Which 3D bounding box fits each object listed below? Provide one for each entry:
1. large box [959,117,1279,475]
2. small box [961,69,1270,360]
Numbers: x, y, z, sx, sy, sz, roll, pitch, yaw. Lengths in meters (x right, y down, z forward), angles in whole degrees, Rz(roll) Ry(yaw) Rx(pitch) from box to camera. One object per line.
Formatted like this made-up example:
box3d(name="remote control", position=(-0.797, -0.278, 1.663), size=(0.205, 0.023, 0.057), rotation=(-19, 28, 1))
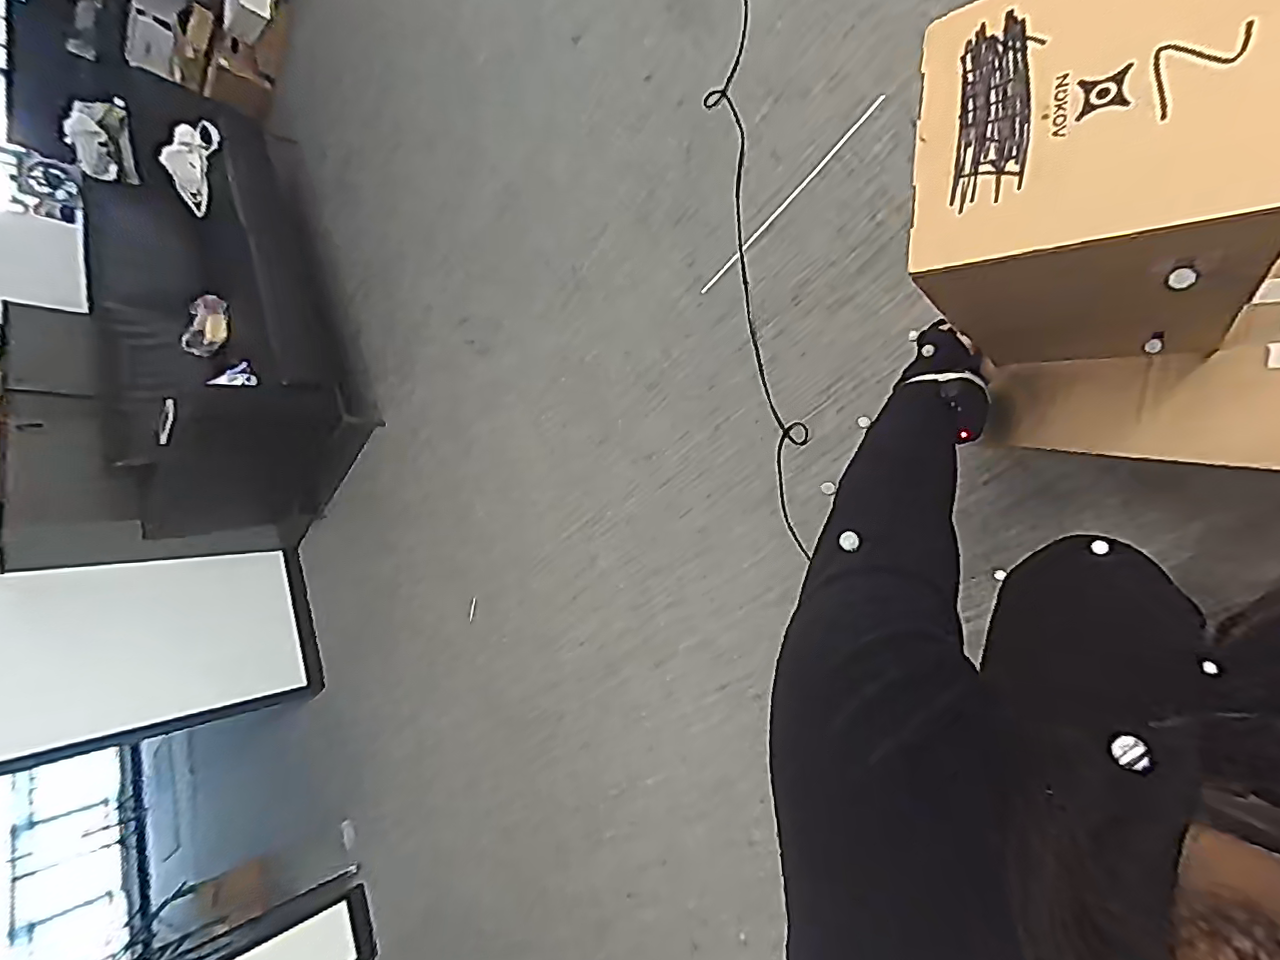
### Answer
box3d(name="large box", position=(0.639, -0.173, 0.616), size=(0.408, 0.320, 0.320), rotation=(10, 97, 41))
box3d(name="small box", position=(0.416, -0.209, 0.490), size=(0.179, 0.176, 0.168), rotation=(6, 92, 43))
